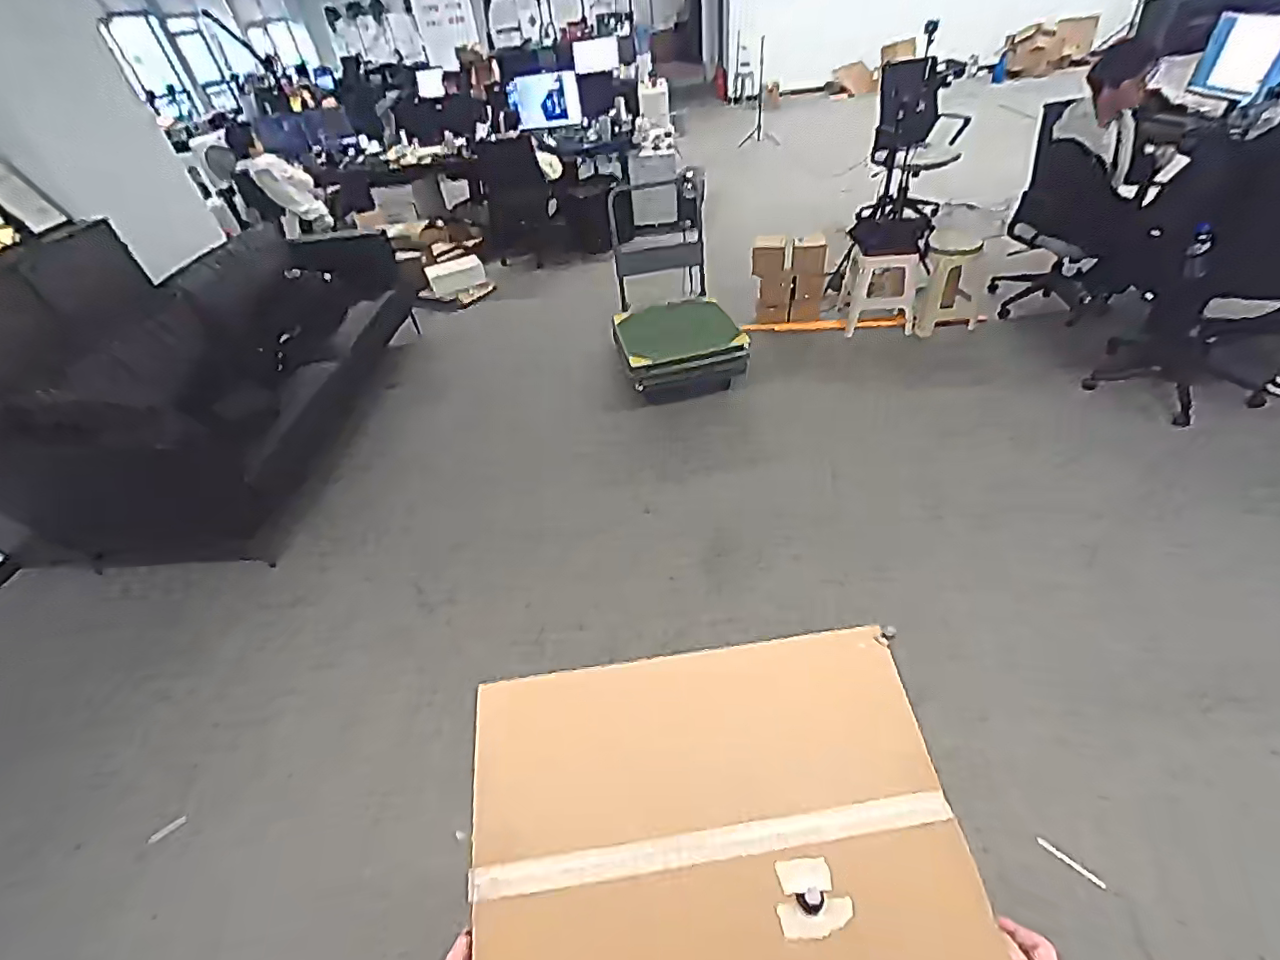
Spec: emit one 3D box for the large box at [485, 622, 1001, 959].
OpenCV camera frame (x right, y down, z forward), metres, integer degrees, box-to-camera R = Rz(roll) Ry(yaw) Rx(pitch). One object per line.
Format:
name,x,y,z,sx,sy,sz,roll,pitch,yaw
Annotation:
large box,0.068,0.383,0.593,0.408,0.320,0.320,-8,59,-3
